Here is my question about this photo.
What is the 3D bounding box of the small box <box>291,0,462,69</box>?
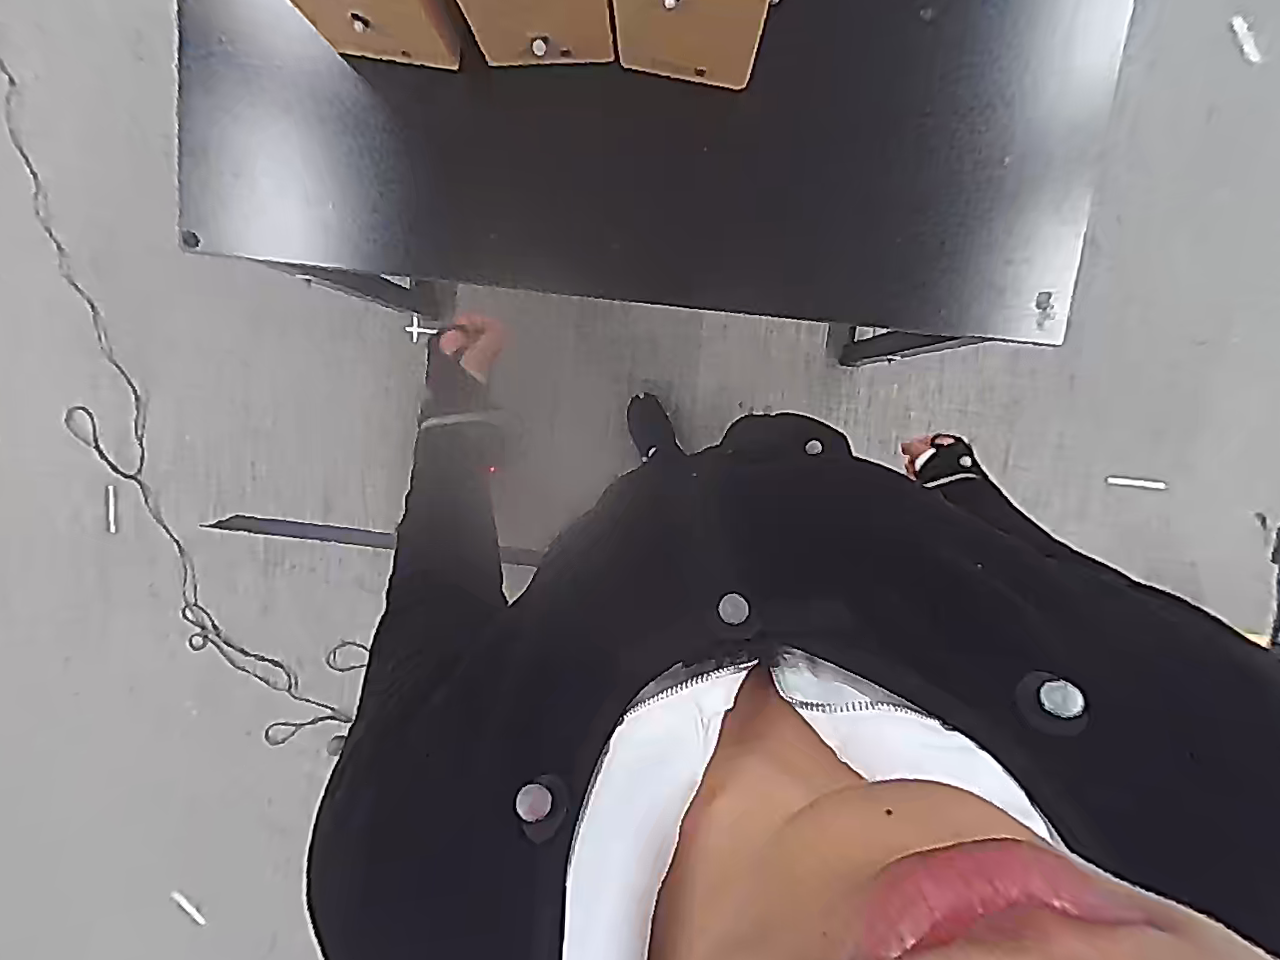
[{"bbox_3d":[-0.308,-0.616,0.616,0.168,0.176,0.179,9,98,0],"label":"small box"}]

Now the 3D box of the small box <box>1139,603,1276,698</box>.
[{"bbox_3d":[1.474,0.442,1.418,0.168,0.176,0.179,5,98,1],"label":"small box"}]
